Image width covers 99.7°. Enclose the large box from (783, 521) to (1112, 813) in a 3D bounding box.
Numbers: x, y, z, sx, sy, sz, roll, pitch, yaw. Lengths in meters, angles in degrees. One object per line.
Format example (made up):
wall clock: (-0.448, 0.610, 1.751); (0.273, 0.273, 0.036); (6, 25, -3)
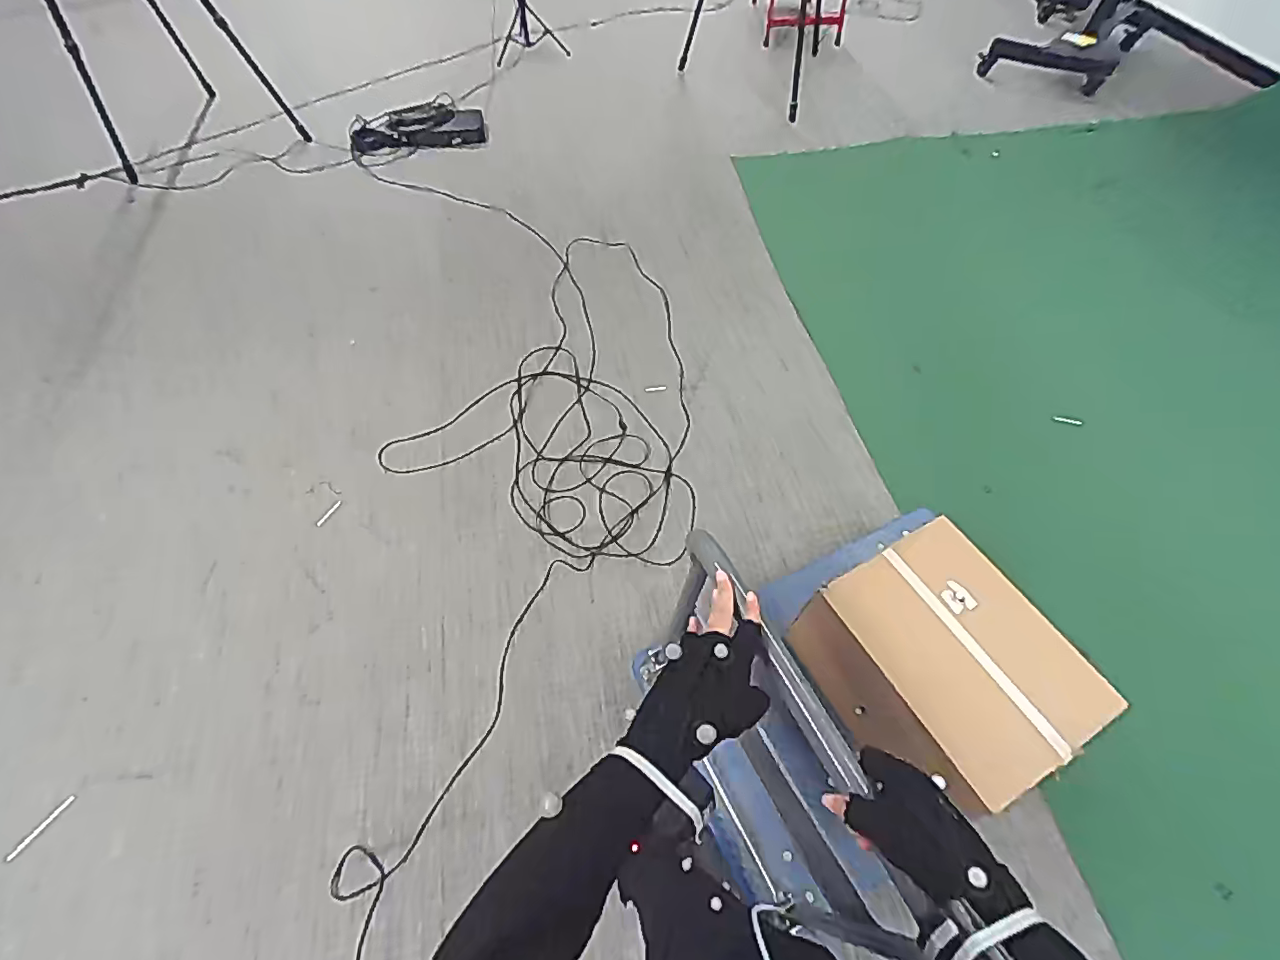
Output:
large box: (0.548, 0.366, 1.062); (0.320, 0.320, 0.408); (-25, 60, -16)
